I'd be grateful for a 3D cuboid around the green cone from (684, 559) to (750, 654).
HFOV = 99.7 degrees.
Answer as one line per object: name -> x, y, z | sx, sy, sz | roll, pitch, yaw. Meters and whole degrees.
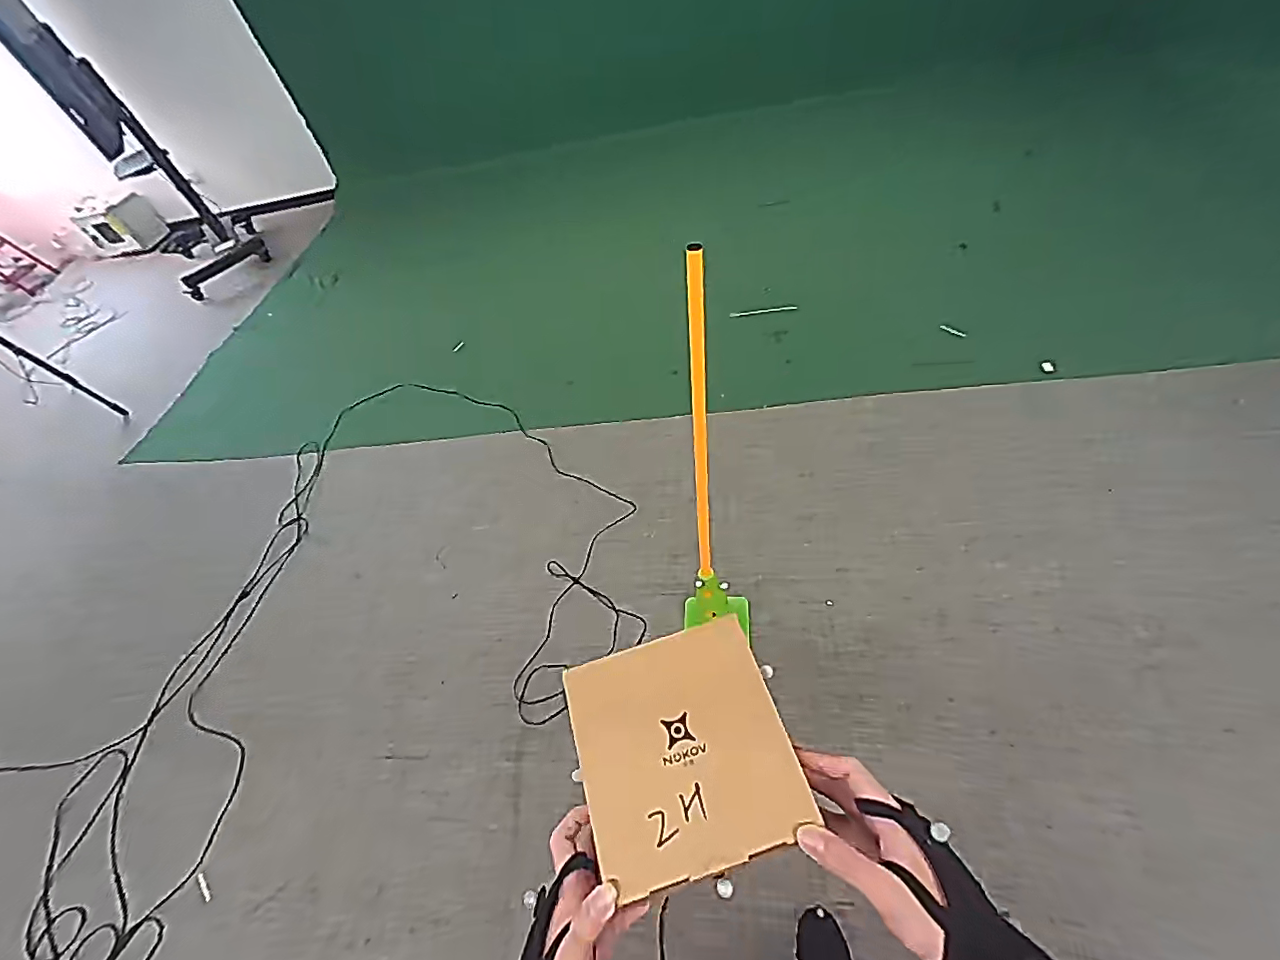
green cone -> 0.199, 0.329, 1.528 | 0.202, 0.368, 0.200 | -4, 50, 12
